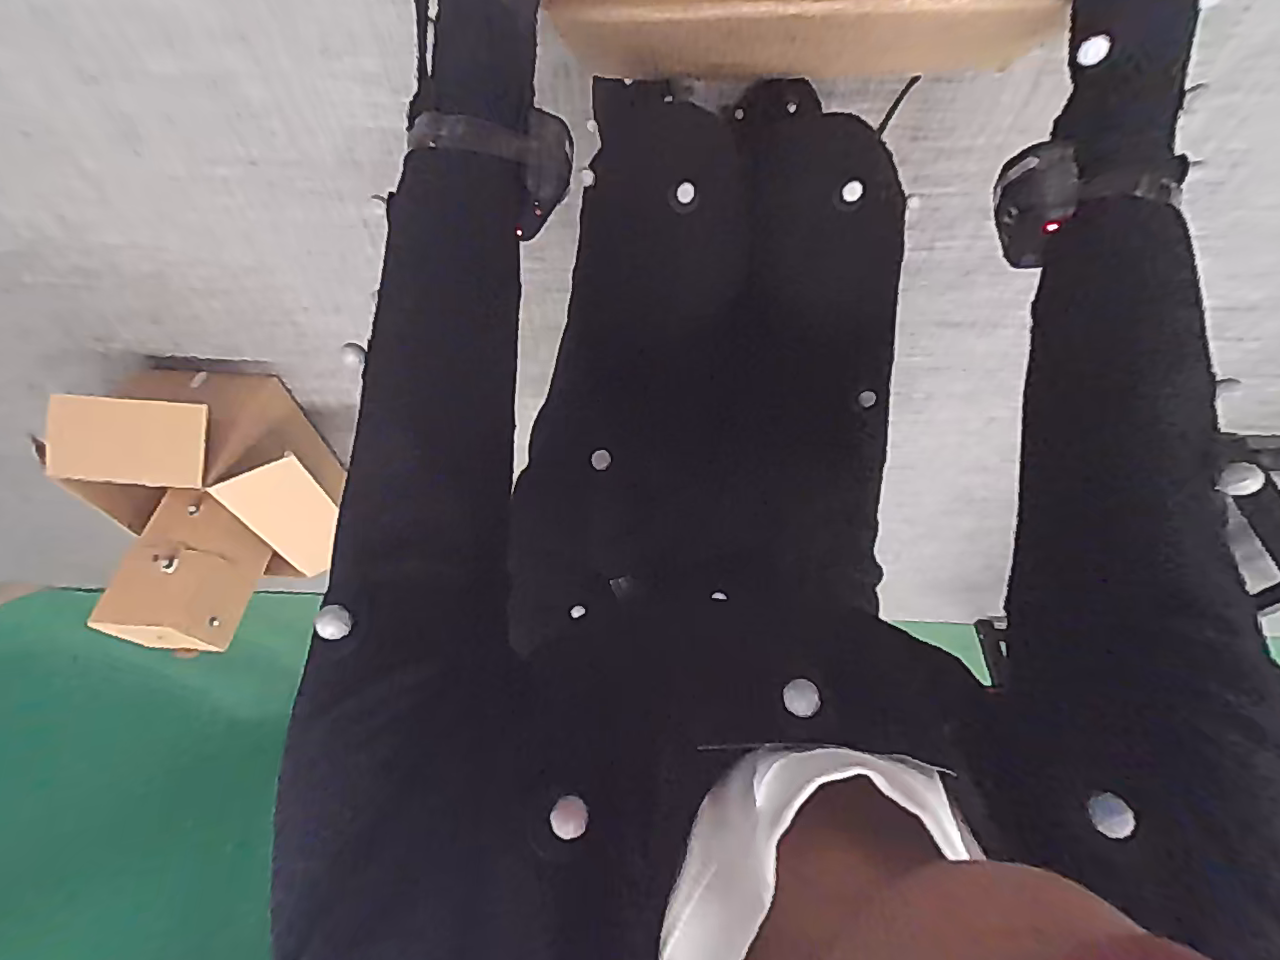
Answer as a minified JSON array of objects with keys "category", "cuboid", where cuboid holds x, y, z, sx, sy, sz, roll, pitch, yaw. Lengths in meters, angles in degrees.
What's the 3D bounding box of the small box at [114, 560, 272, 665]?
[{"category":"small box","cuboid":[-0.942,0.287,1.164,0.168,0.176,0.179,2,146,0]}]
